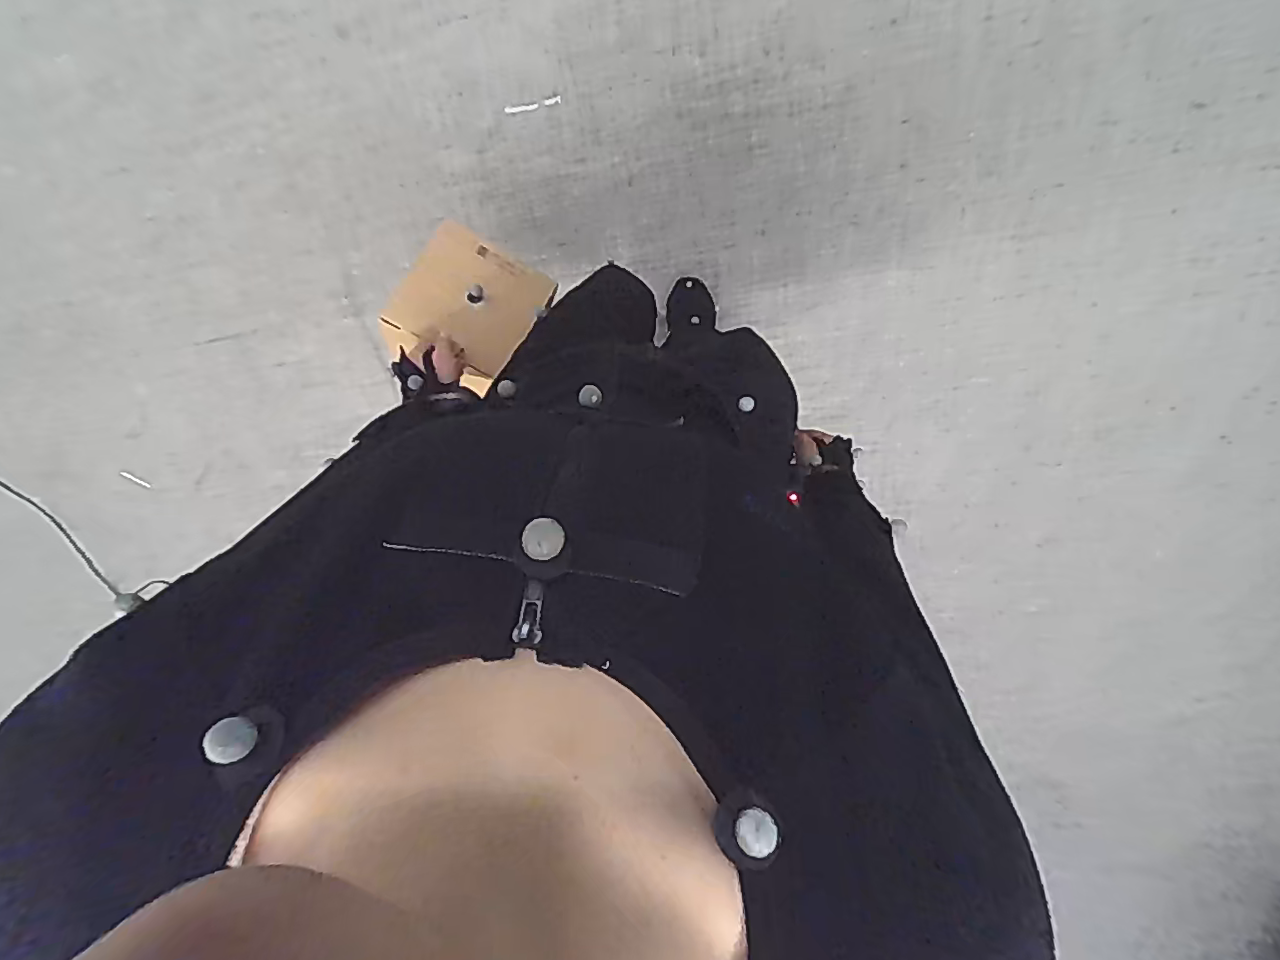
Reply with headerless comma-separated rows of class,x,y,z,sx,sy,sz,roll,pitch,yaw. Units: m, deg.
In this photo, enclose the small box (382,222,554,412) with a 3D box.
small box,-0.239,-0.226,0.776,0.168,0.179,0.176,29,76,-12
